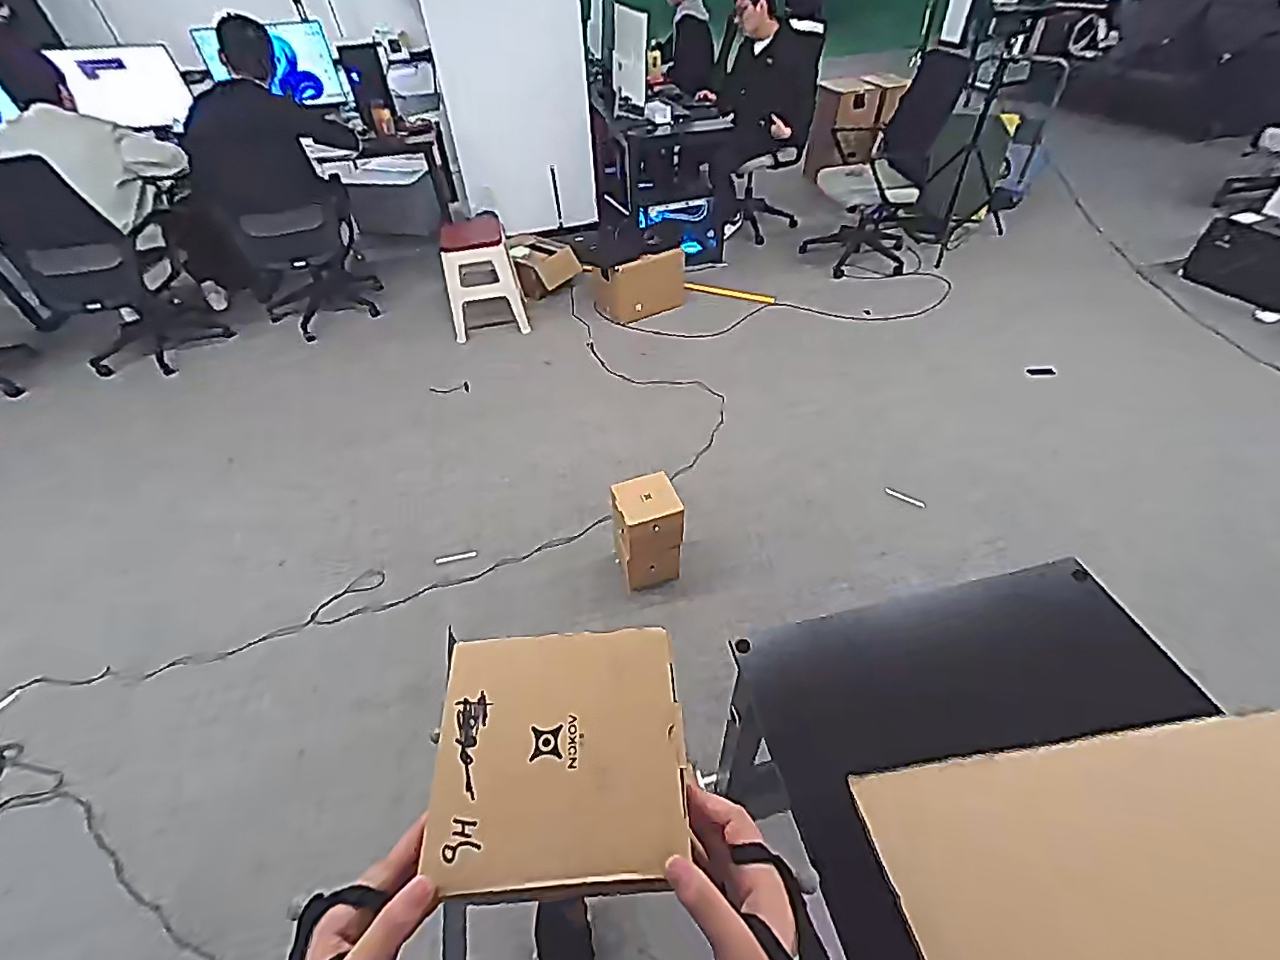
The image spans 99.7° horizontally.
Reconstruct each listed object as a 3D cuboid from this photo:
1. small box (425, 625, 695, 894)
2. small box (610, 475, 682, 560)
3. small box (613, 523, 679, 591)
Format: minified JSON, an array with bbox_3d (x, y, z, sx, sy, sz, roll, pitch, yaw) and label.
[{"bbox_3d":[-0.055,0.238,0.457,0.179,0.176,0.168,-3,49,-2],"label":"small box"},{"bbox_3d":[0.019,0.117,1.638,0.179,0.176,0.168,-15,47,-13],"label":"small box"},{"bbox_3d":[0.019,0.233,1.753,0.179,0.176,0.168,-14,47,-10],"label":"small box"}]
